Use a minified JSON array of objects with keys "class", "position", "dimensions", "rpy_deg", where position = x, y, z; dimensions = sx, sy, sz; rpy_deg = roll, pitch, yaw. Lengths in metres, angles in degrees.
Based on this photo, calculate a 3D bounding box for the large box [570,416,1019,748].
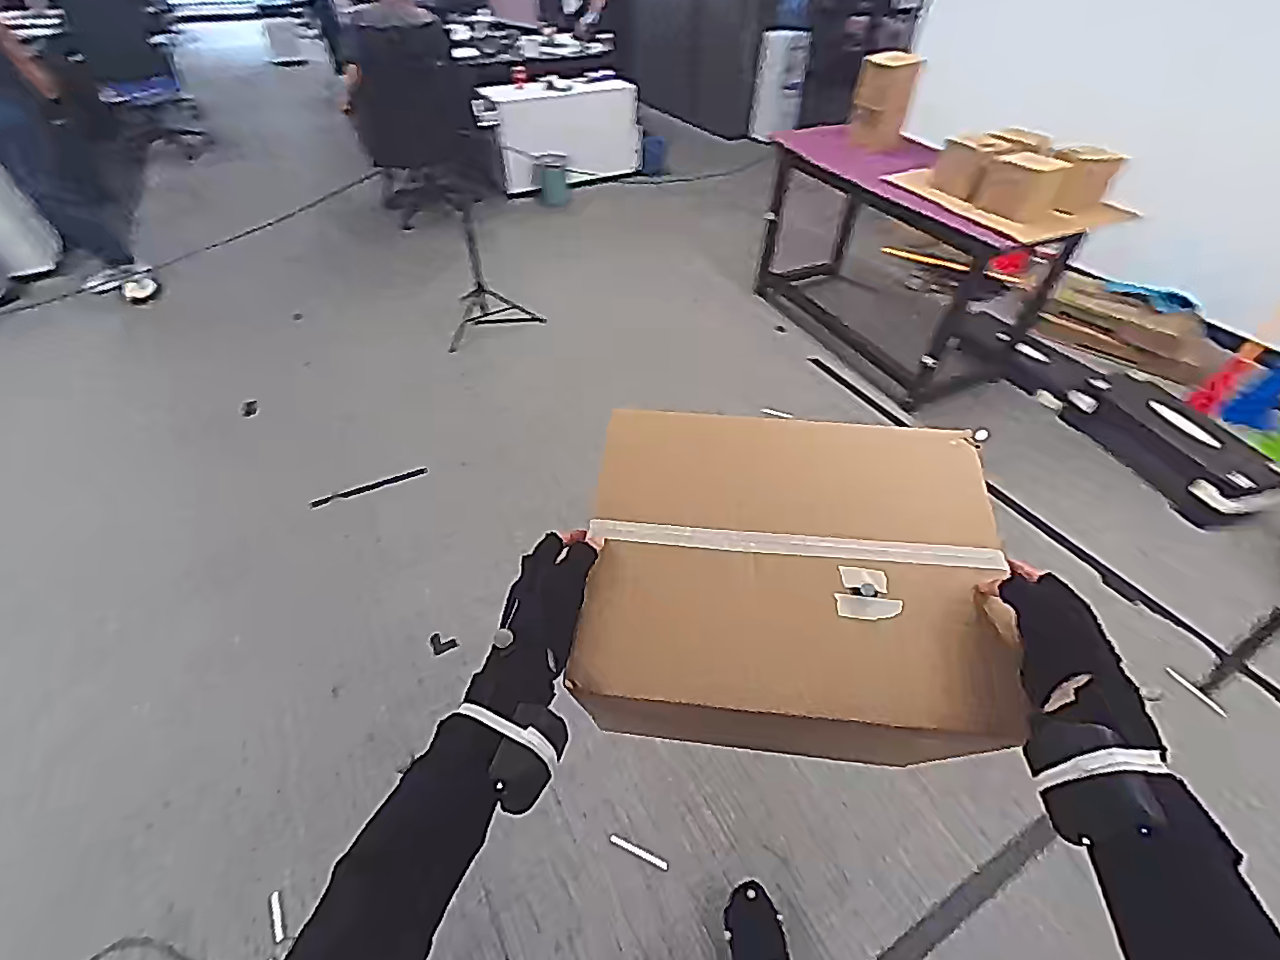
[{"class":"large box","position":[0.146,0.140,0.681],"dimensions":[0.408,0.320,0.320],"rpy_deg":[4,60,4]}]
